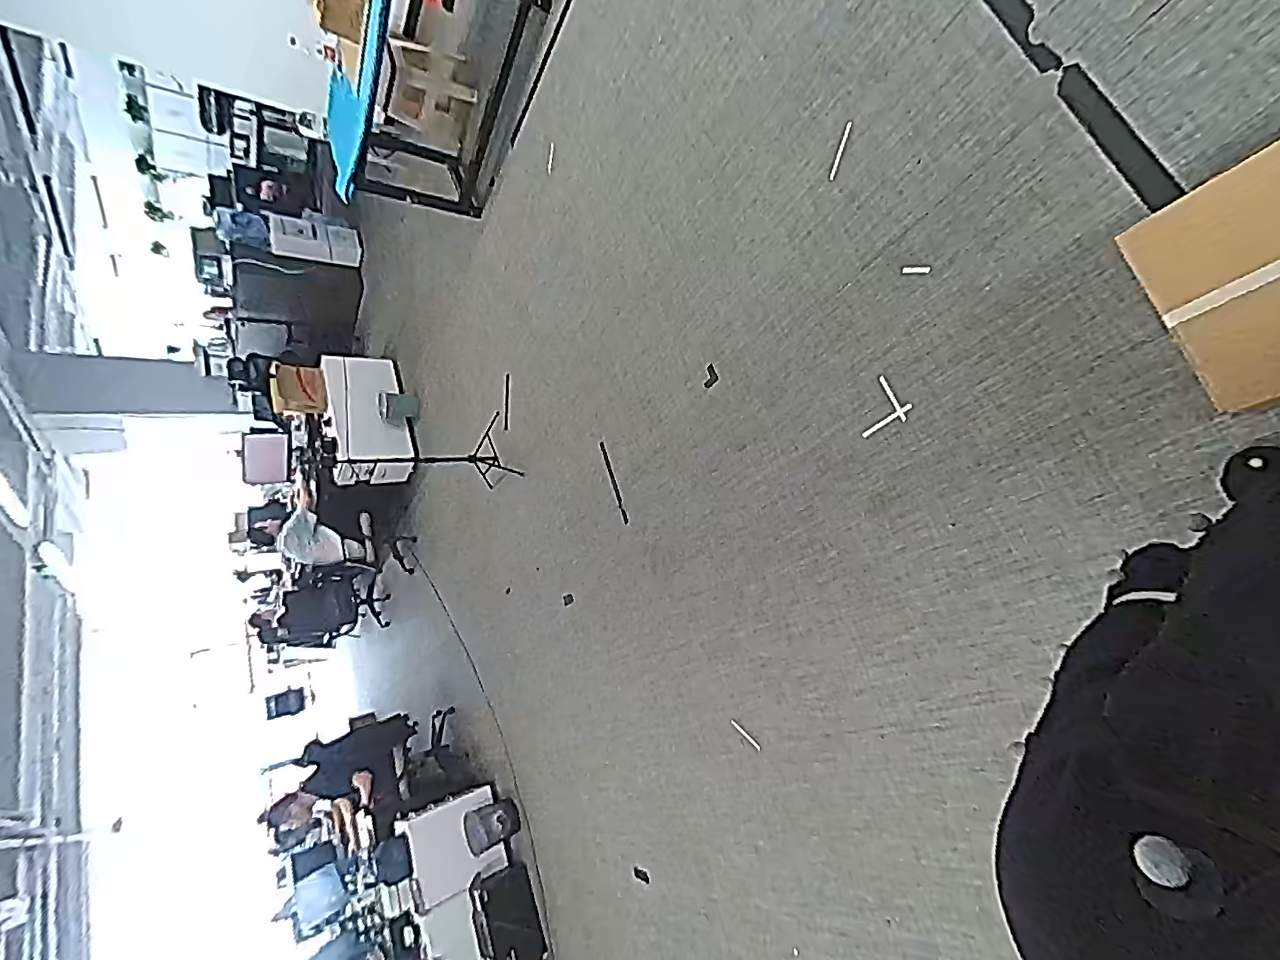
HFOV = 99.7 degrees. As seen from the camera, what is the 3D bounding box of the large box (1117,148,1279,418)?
[{"bbox_3d":[1.012,-0.313,0.754,0.408,0.320,0.320,-34,68,48],"label":"large box"}]
